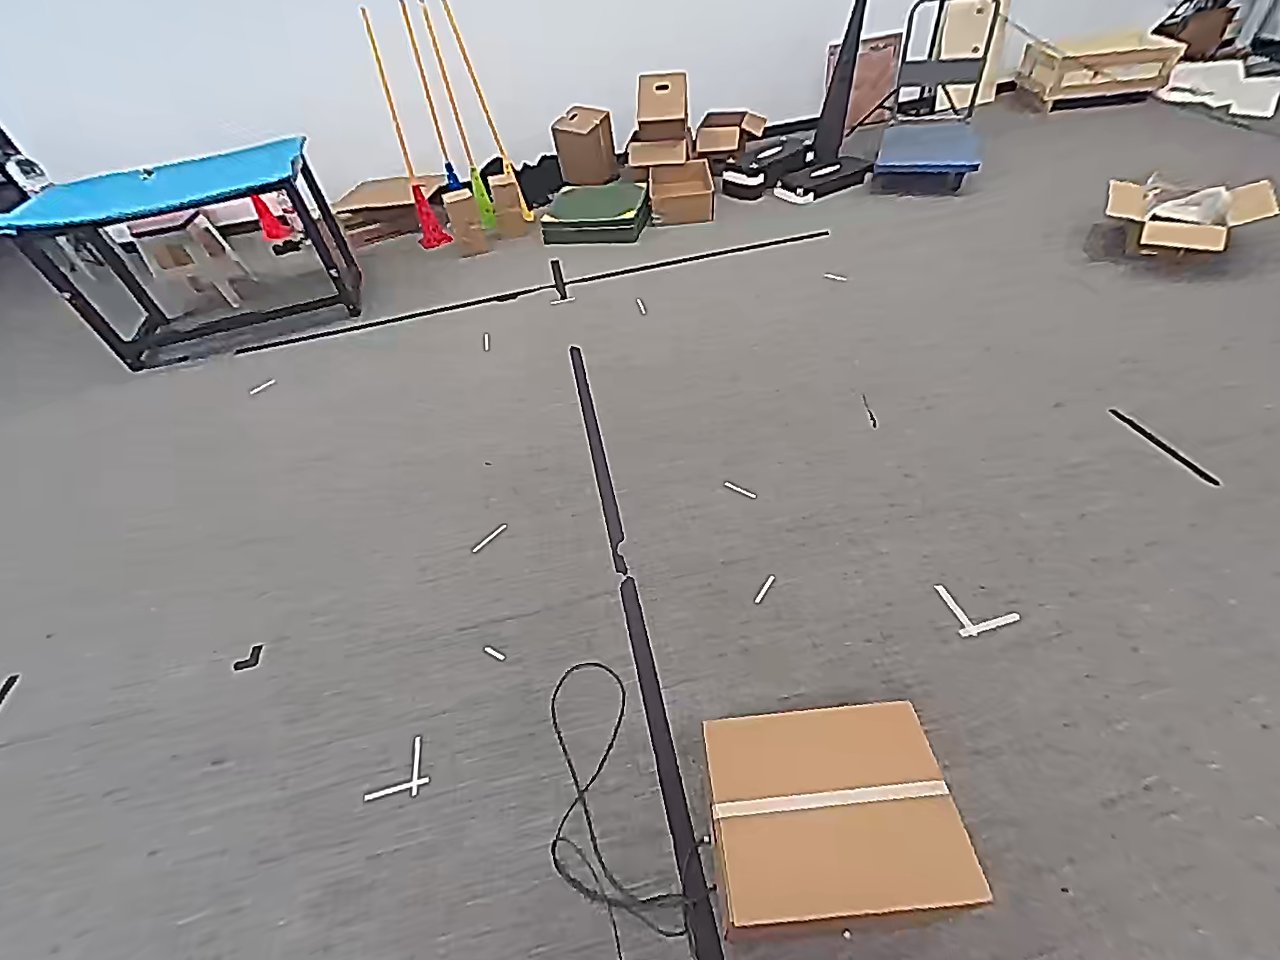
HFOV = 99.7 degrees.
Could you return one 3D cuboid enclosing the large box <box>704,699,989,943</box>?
[{"bbox_3d":[0.348,0.661,1.047,0.408,0.320,0.320,-7,46,1],"label":"large box"}]
